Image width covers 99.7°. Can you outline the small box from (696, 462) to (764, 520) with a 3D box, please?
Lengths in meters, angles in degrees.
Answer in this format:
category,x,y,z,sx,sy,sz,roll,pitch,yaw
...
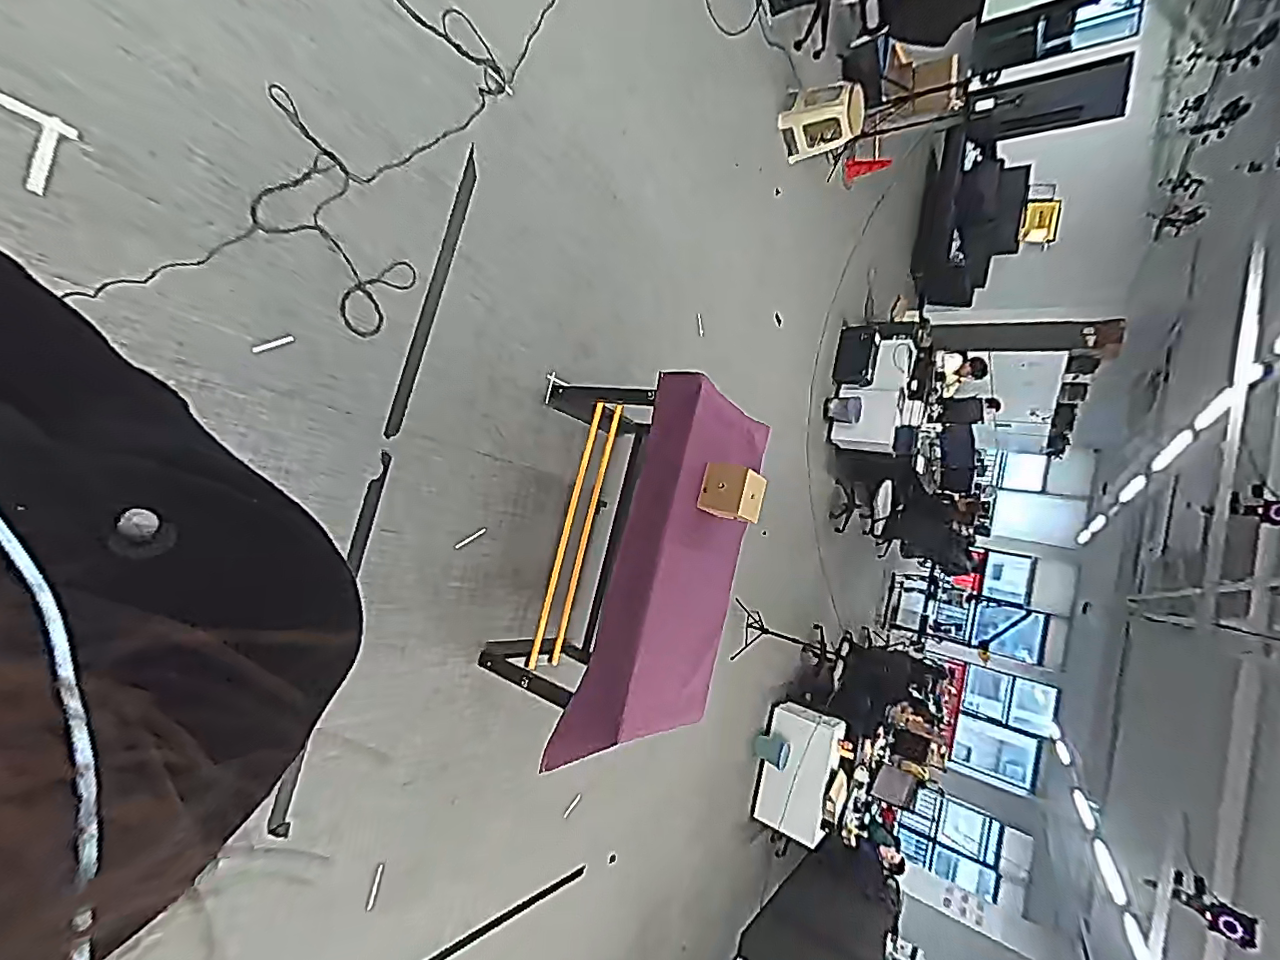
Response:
category,x,y,z,sx,sy,sz,roll,pitch,yaw
small box,0.322,0.036,1.950,0.179,0.176,0.168,25,78,-54
